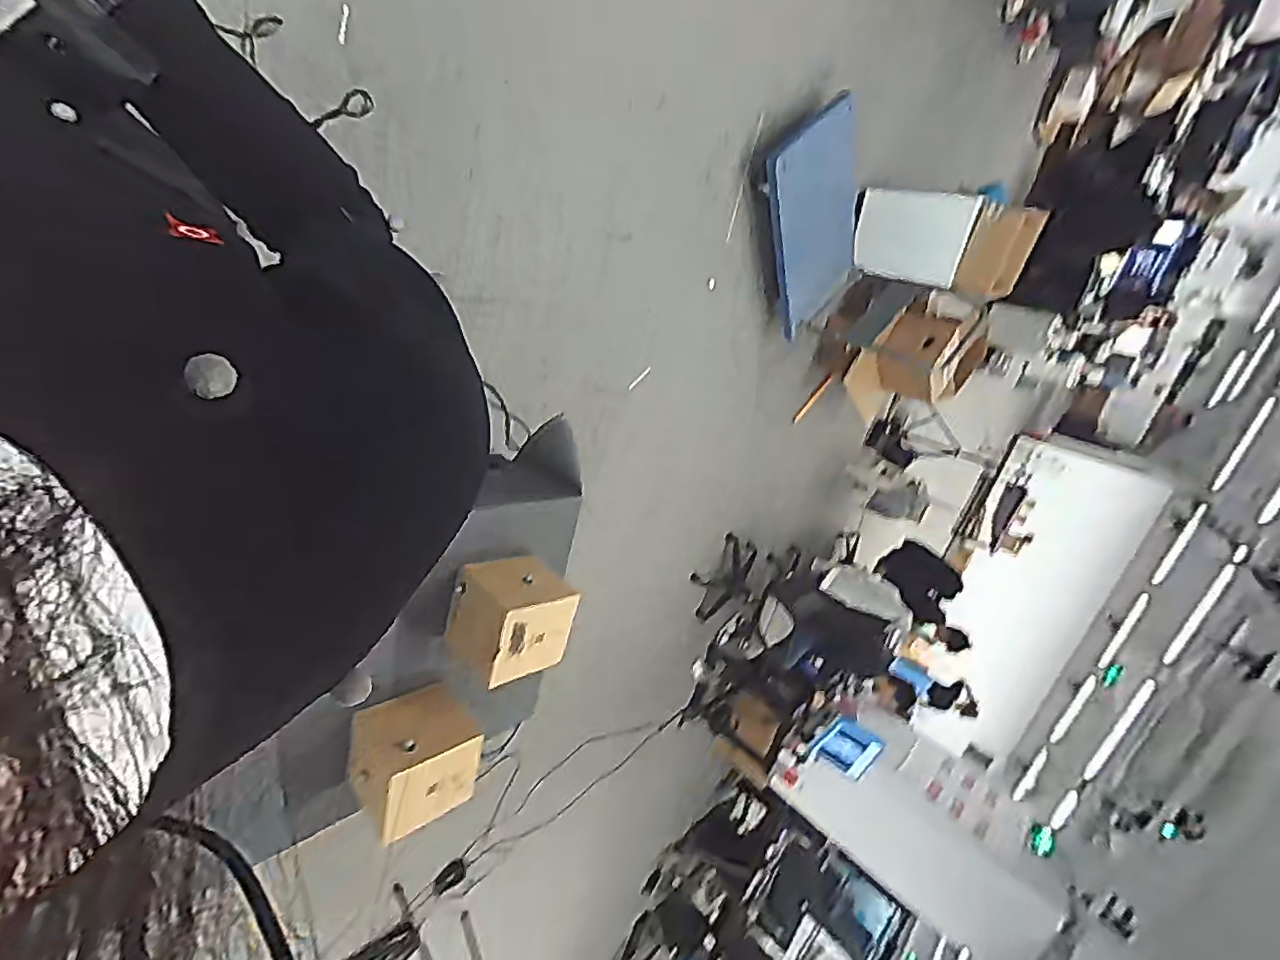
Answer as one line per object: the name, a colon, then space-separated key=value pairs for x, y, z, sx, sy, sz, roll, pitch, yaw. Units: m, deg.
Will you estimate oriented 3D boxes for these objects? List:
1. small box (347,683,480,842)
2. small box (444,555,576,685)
small box: x=-0.435 y=0.523 z=1.028 sx=0.179 sy=0.176 sz=0.168 roll=-7 pitch=117 yaw=-48
small box: x=-0.261 y=0.265 z=1.069 sx=0.179 sy=0.176 sz=0.168 roll=-3 pitch=116 yaw=-50
